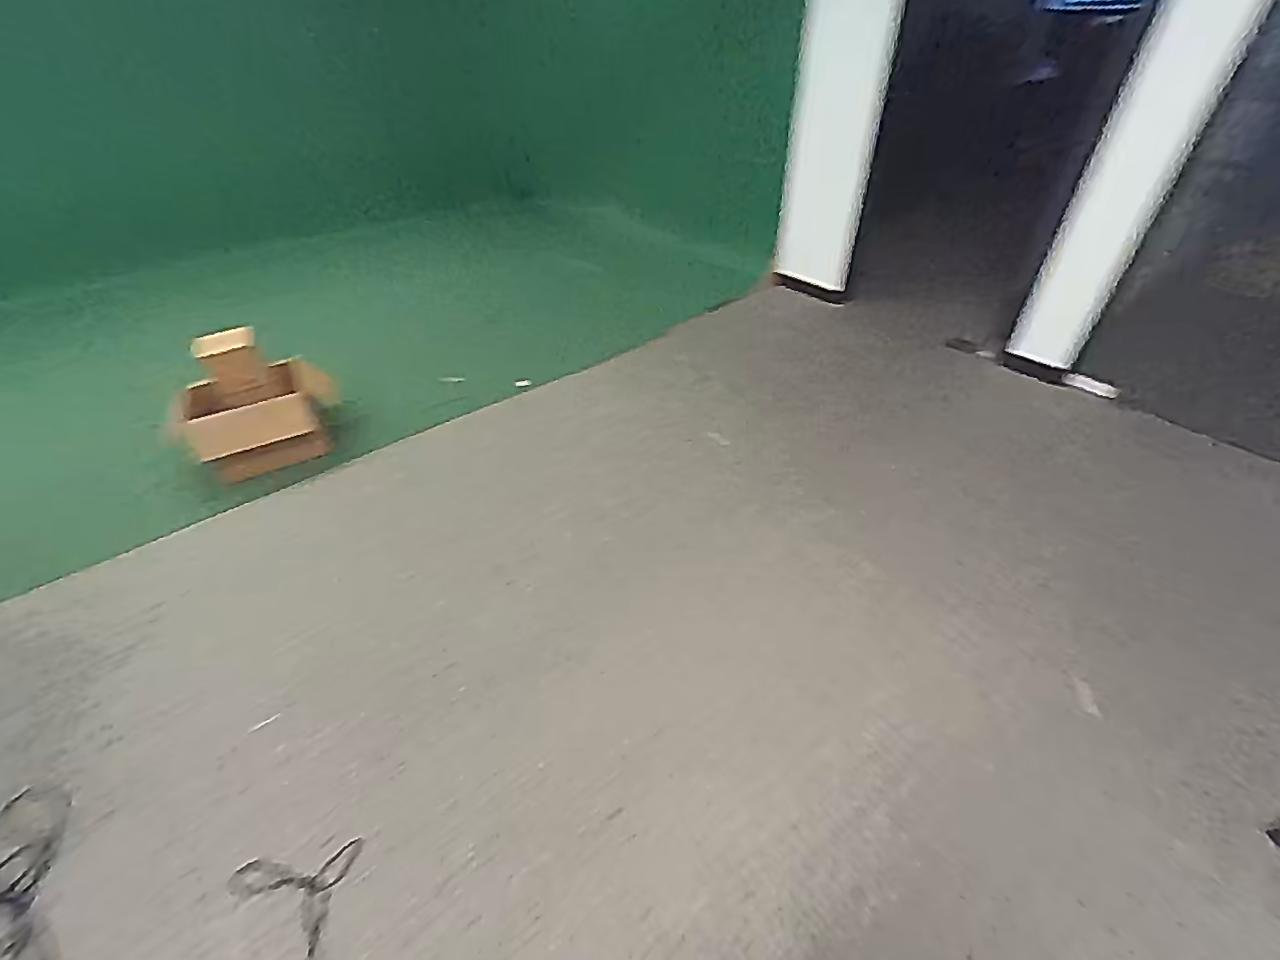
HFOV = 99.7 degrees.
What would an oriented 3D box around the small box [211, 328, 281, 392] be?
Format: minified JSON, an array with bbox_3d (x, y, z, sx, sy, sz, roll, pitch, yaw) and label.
[{"bbox_3d":[-1.502,-0.453,2.070,0.168,0.176,0.179,-22,45,-21],"label":"small box"}]
